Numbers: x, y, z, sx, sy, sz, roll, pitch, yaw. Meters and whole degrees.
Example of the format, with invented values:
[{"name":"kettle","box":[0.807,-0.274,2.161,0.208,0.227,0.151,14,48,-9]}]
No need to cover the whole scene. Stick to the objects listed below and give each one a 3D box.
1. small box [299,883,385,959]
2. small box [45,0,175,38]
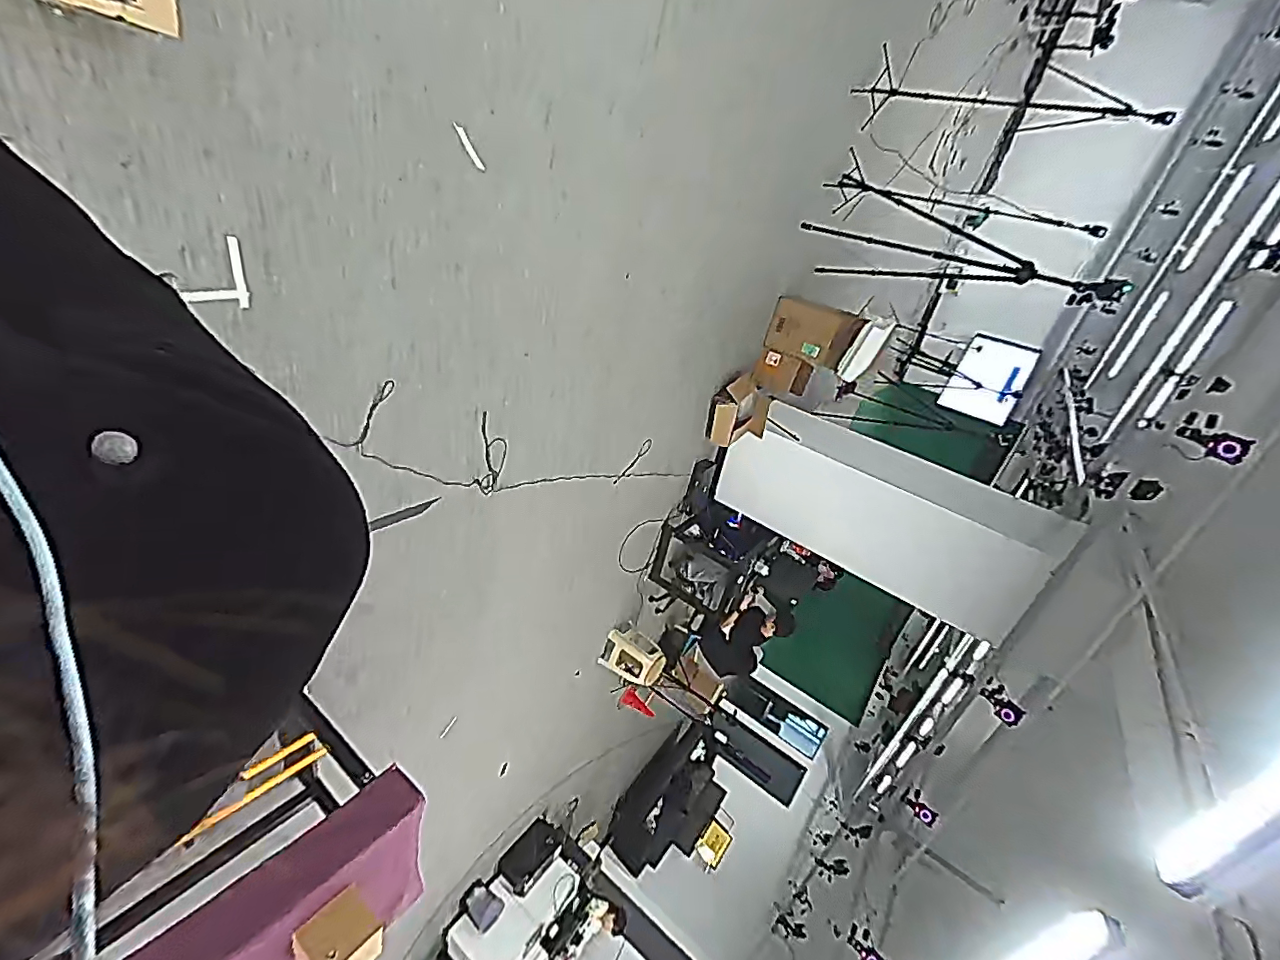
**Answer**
[{"name":"small box","box":[-0.881,1.358,1.594,0.179,0.176,0.168,-24,136,-51]},{"name":"small box","box":[-0.944,-0.902,0.929,0.168,0.176,0.179,-24,135,-52]}]
